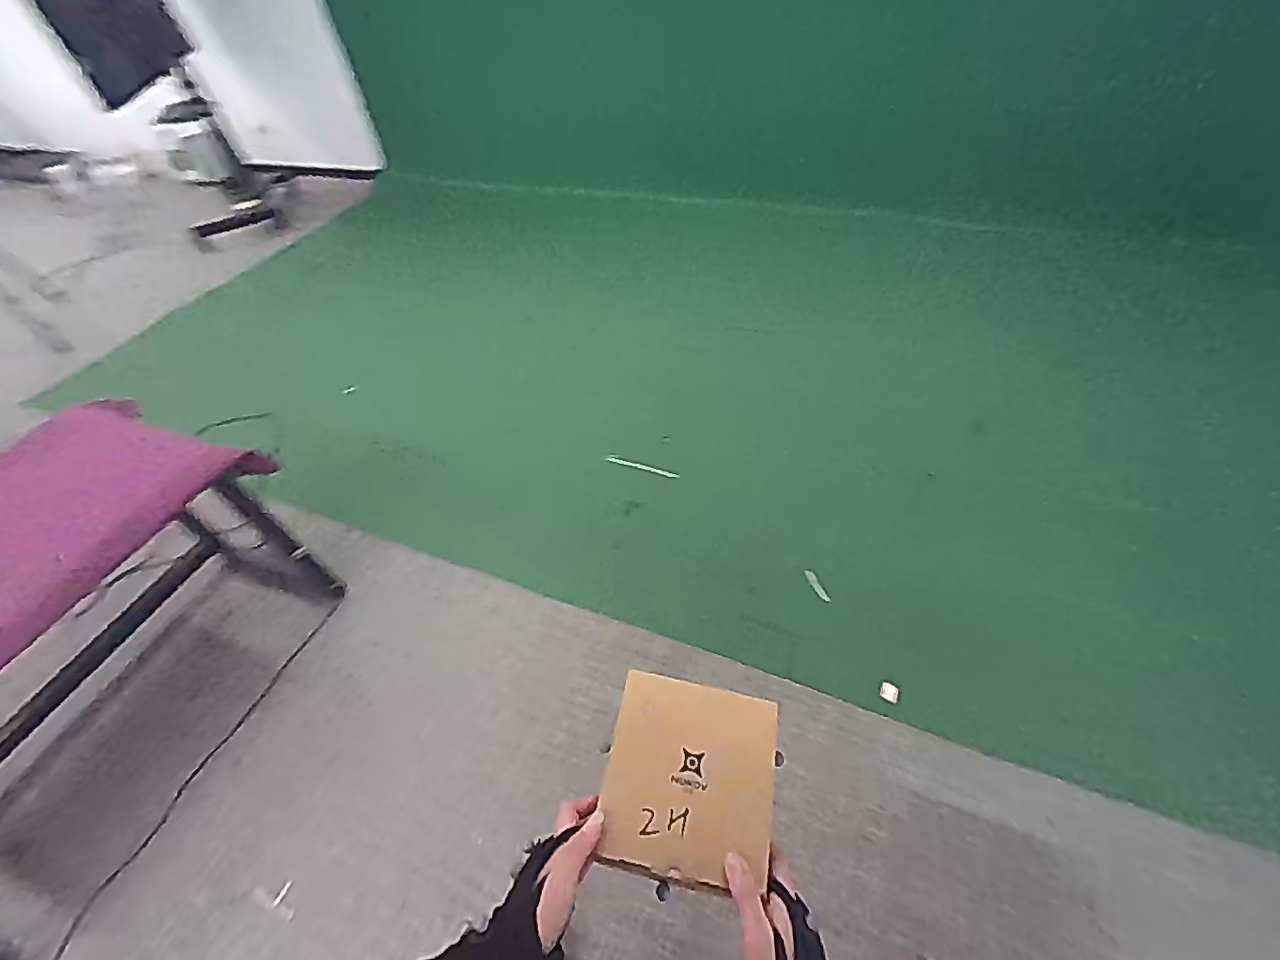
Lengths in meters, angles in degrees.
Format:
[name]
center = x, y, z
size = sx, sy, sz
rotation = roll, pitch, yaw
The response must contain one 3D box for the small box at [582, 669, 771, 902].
[small box]
center = 0.039, 0.336, 0.593
size = 0.168, 0.176, 0.179
rotation = 10, 52, 6
